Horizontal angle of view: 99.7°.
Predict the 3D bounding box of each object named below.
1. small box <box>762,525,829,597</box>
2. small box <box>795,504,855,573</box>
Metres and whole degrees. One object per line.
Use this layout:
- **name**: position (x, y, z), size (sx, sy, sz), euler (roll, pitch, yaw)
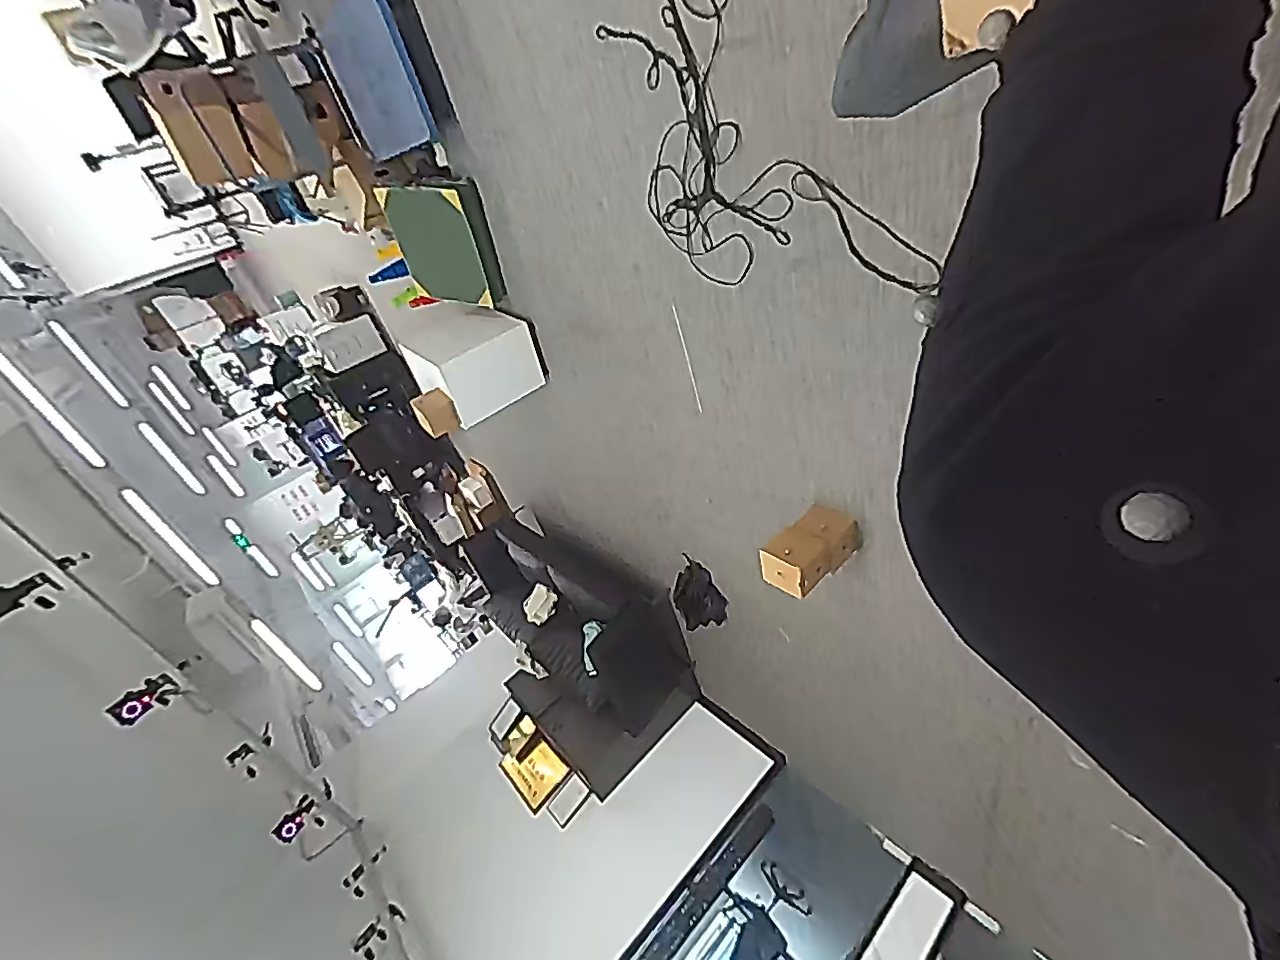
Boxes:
- **small box**: position (0.575, 0.290, 1.992), size (0.179, 0.176, 0.168), euler (25, 142, 44)
- **small box**: position (0.704, 0.216, 2.061), size (0.179, 0.176, 0.168), euler (24, 142, 43)
